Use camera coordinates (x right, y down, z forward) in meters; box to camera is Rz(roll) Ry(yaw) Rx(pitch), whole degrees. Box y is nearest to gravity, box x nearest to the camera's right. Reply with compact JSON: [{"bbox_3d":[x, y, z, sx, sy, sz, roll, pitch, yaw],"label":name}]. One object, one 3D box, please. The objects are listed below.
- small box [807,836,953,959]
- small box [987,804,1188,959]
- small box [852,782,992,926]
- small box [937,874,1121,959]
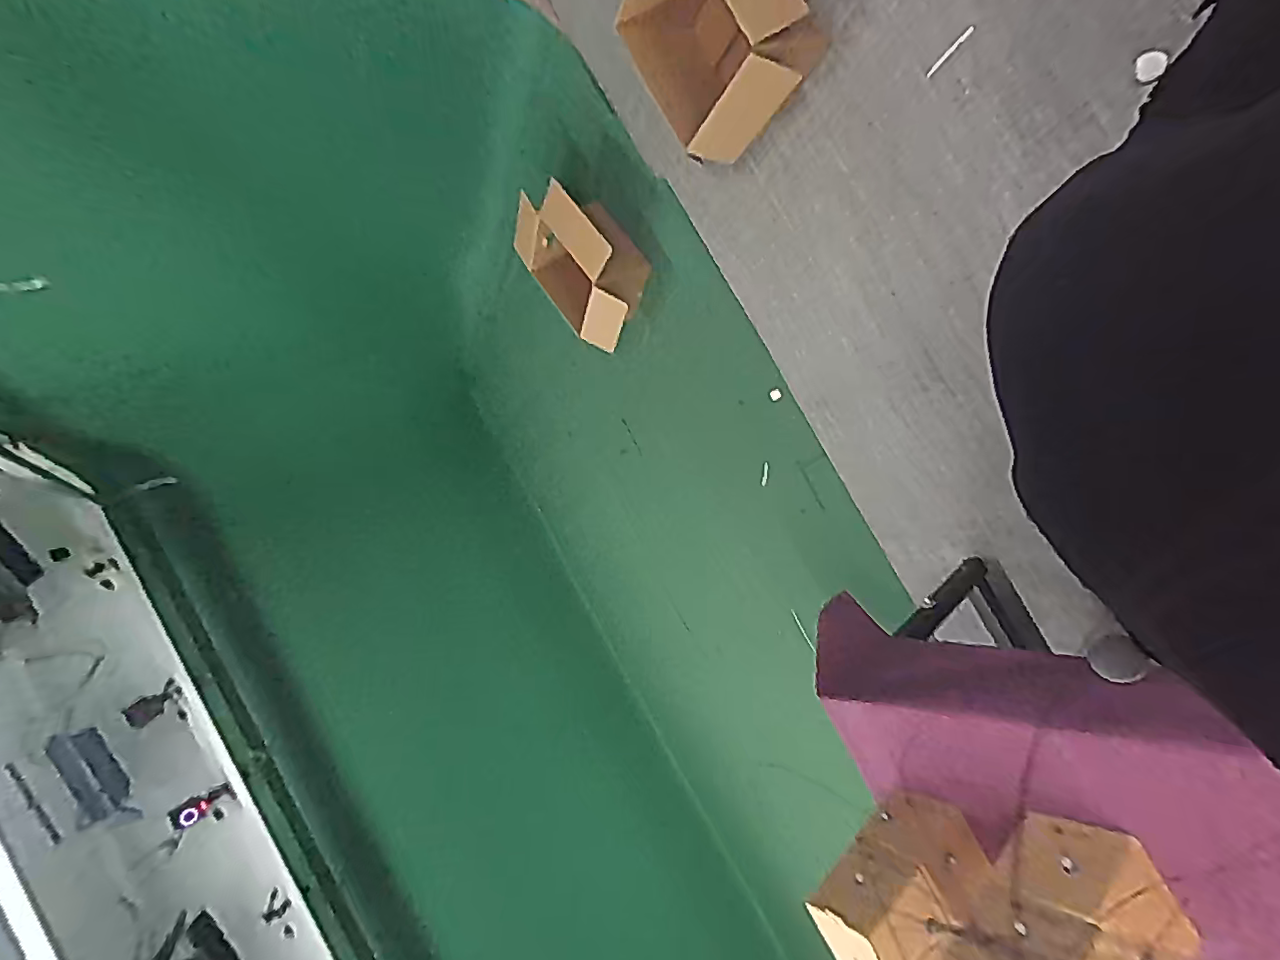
[{"bbox_3d":[0.469,0.843,1.048,0.179,0.176,0.168,62,152,1],"label":"small box"},{"bbox_3d":[0.706,0.658,0.858,0.179,0.176,0.168,59,150,3],"label":"small box"},{"bbox_3d":[0.592,0.777,1.134,0.179,0.176,0.168,61,151,1],"label":"small box"},{"bbox_3d":[0.582,0.733,0.779,0.179,0.176,0.168,61,150,0],"label":"small box"}]
